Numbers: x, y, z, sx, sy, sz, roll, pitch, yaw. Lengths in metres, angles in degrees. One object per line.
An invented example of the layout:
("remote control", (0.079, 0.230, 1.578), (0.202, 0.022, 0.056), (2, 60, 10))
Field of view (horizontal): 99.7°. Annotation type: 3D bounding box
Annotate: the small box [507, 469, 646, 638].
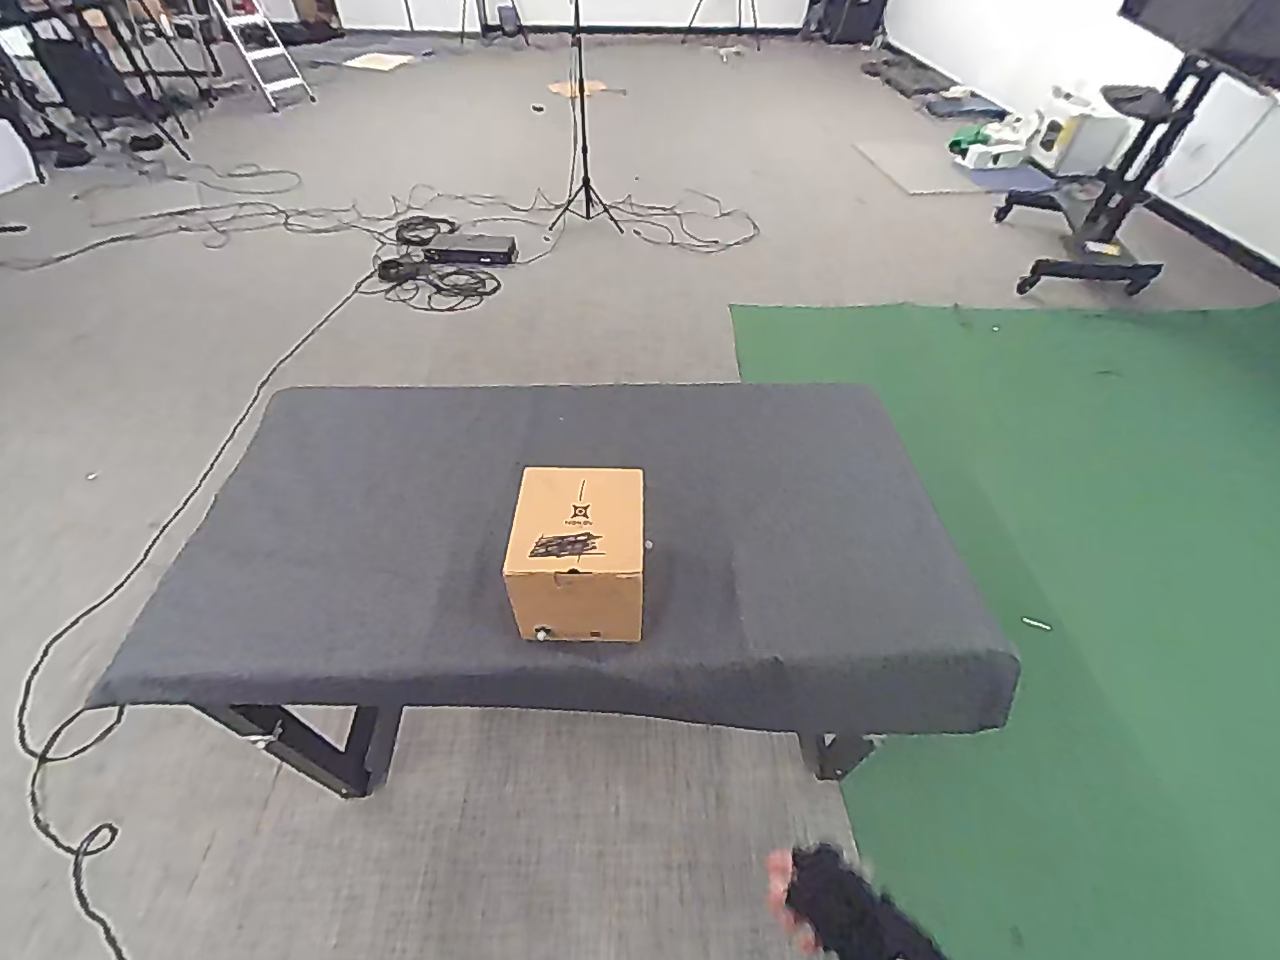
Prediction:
("small box", (-0.077, 0.106, 0.758), (0.168, 0.176, 0.179), (2, 46, 0))
